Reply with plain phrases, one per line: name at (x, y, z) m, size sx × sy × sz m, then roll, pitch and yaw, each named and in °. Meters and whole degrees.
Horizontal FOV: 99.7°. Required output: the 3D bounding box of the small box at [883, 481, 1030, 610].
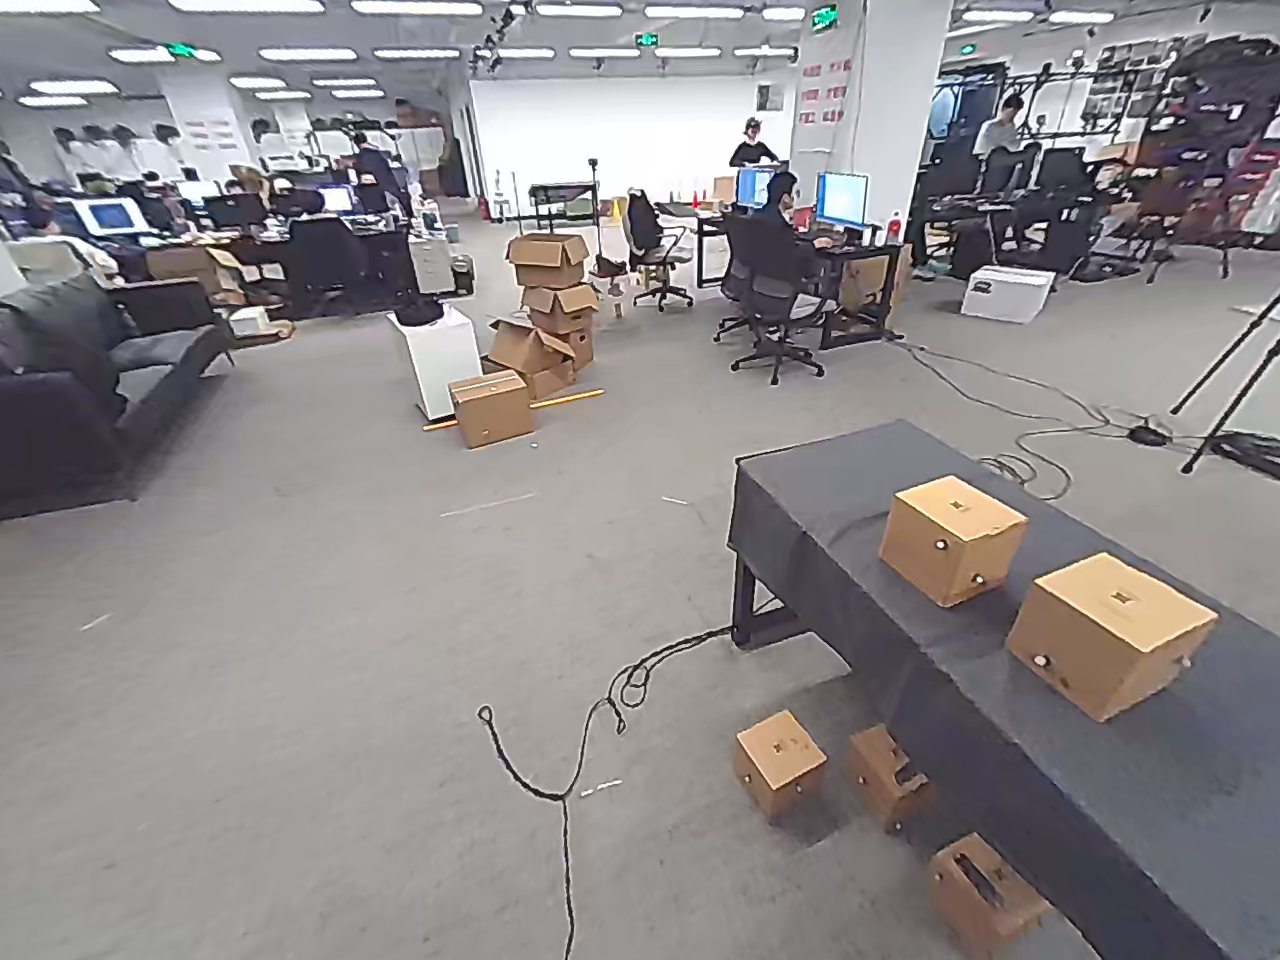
small box at (0.624, 0.130, 1.093) m, size 0.168 × 0.176 × 0.179 m, roll -15°, pitch 35°, yaw -19°

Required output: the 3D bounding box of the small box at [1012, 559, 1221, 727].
small box at (0.754, 0.261, 0.878) m, size 0.179 × 0.176 × 0.168 m, roll -14°, pitch 33°, yaw -17°

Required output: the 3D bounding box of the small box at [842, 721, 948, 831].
small box at (0.659, 0.781, 1.417) m, size 0.168 × 0.176 × 0.179 m, roll -13°, pitch 33°, yaw -16°
